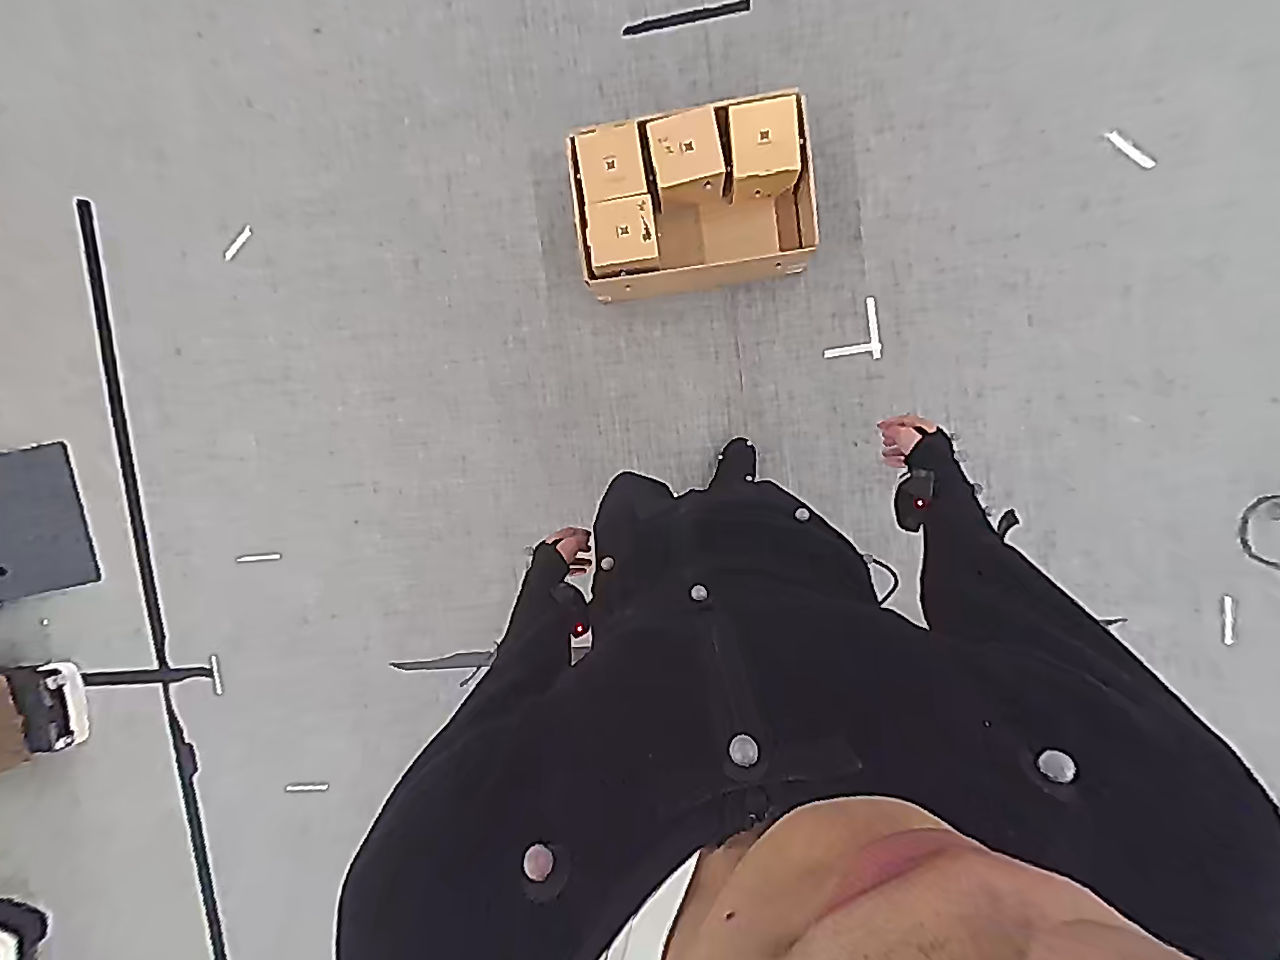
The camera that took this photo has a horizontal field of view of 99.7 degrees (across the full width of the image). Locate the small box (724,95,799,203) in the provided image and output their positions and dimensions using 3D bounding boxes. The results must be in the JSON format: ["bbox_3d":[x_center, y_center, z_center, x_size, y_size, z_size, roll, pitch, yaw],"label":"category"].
[{"bbox_3d":[0.314,-0.859,1.419,0.168,0.176,0.179,-6,97,7],"label":"small box"}]
